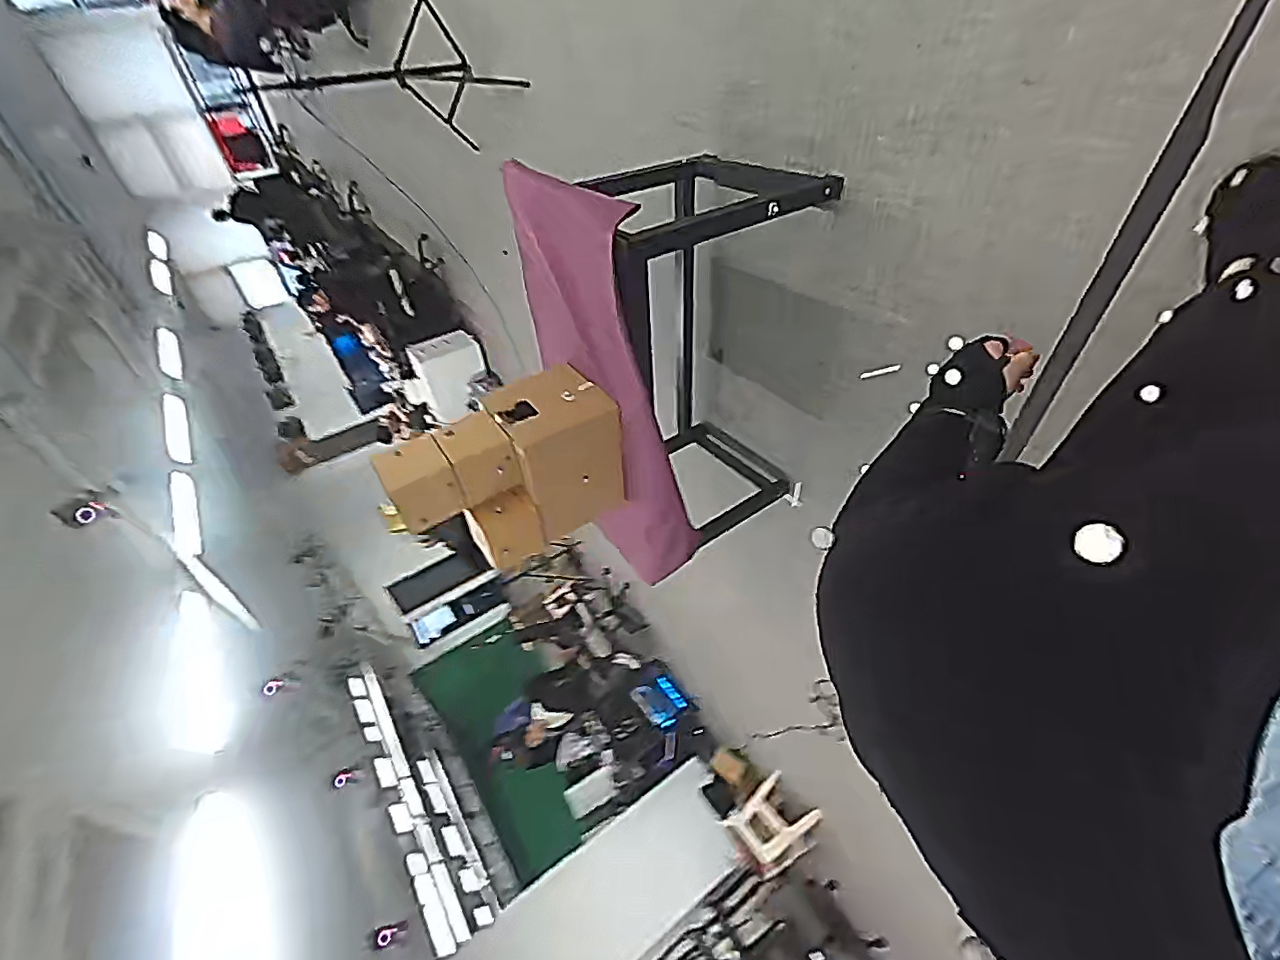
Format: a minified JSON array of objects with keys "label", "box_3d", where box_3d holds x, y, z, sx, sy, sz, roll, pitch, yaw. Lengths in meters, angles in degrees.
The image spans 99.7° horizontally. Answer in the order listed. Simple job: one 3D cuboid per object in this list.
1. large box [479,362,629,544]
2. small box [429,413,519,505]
[{"label":"large box","box_3d":[-0.253,-0.089,1.681,0.320,0.320,0.408,45,152,38]},{"label":"small box","box_3d":[-0.458,-0.067,1.506,0.179,0.176,0.168,44,152,38]}]
